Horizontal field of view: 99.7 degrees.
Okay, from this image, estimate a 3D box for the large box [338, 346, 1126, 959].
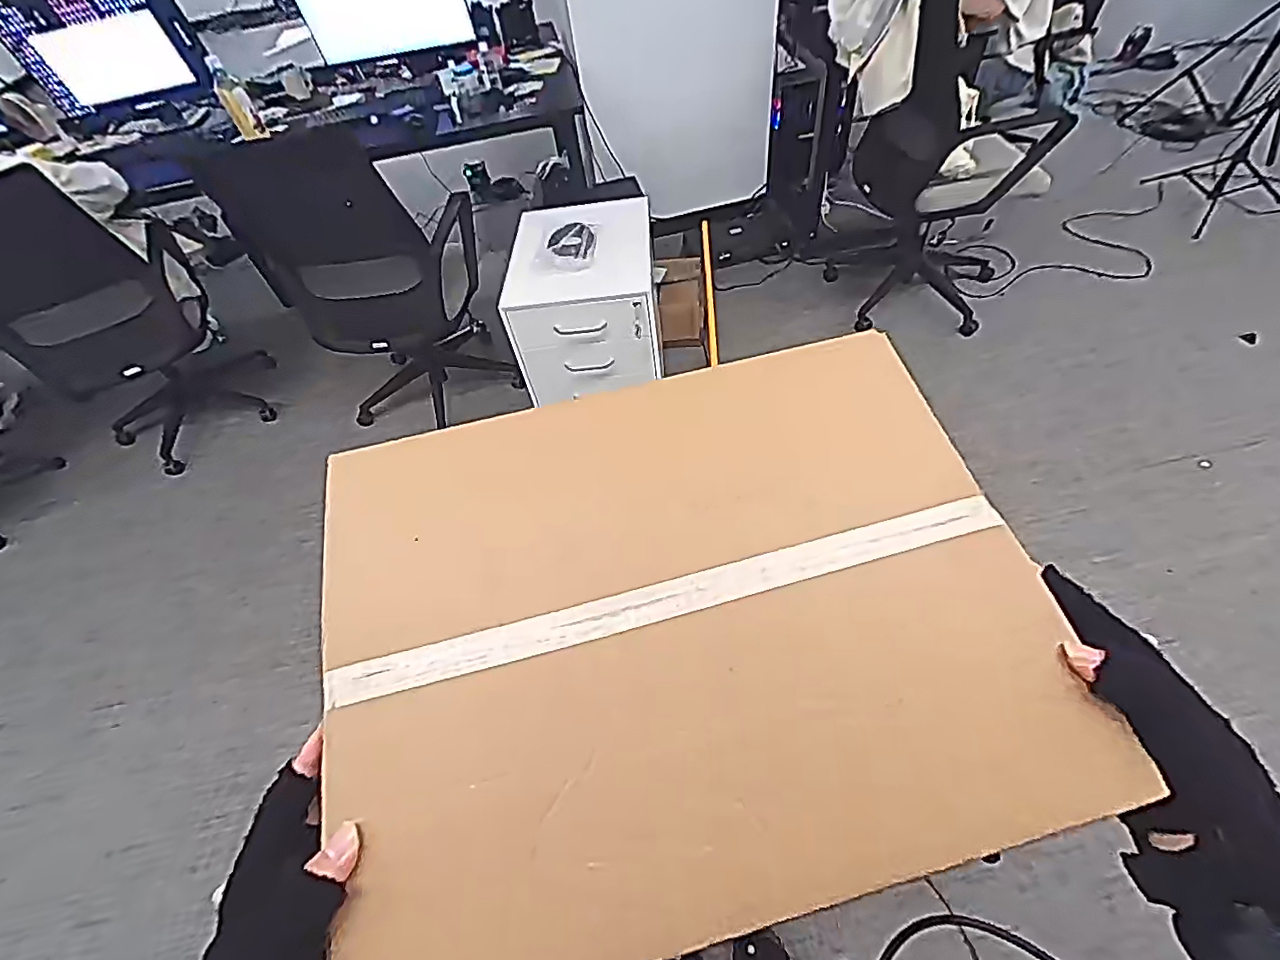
[{"bbox_3d":[0.029,0.145,0.456,0.408,0.320,0.320,-15,63,-4],"label":"large box"}]
